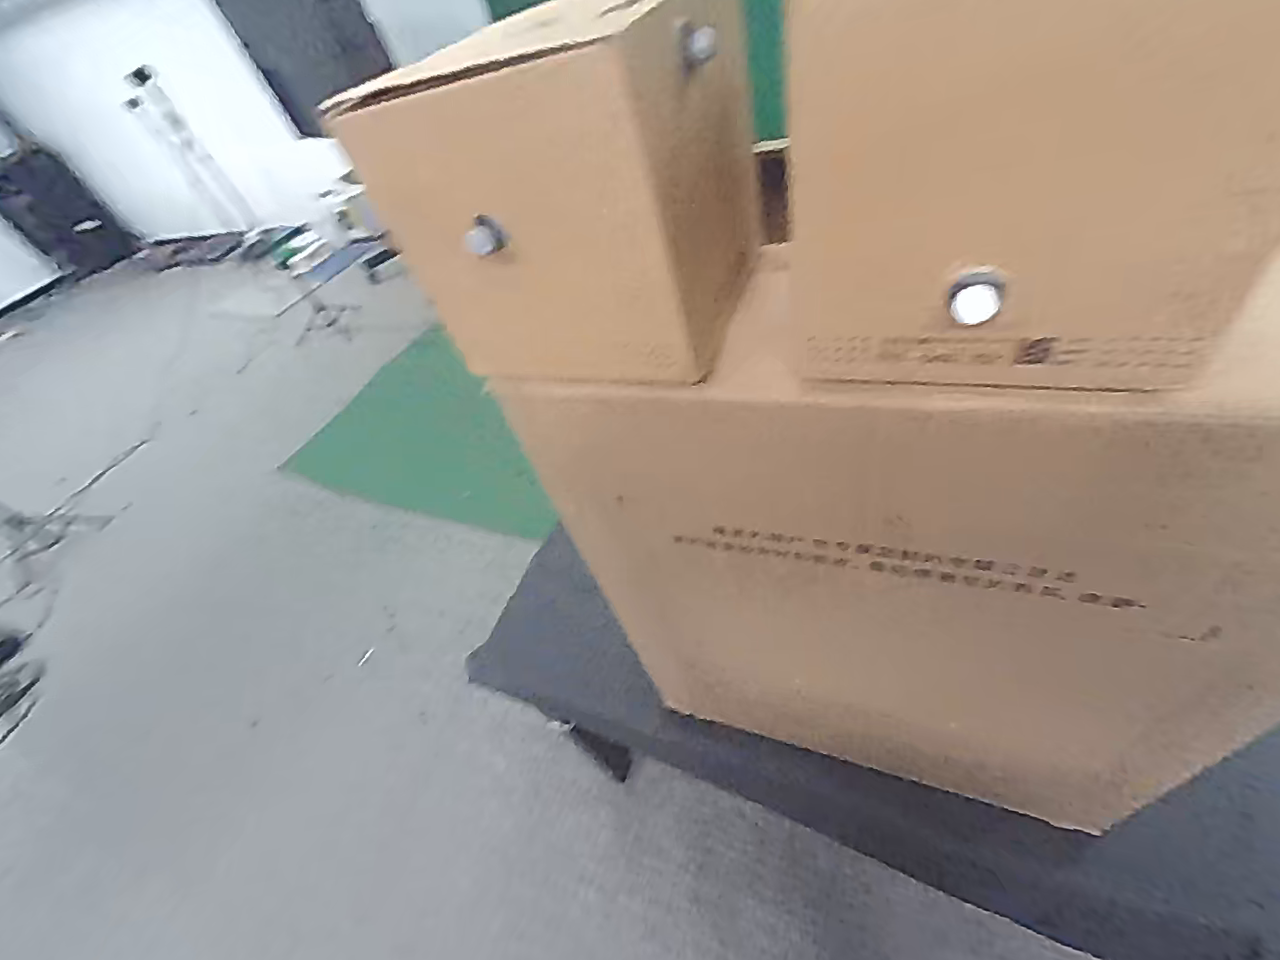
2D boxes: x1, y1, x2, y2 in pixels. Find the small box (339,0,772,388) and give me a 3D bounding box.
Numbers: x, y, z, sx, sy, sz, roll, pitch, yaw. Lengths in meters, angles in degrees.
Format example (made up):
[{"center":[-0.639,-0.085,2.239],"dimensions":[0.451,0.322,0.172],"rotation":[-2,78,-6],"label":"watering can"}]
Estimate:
[{"center":[-0.027,-0.173,0.335],"dimensions":[0.179,0.176,0.168],"rotation":[8,52,25],"label":"small box"}]
